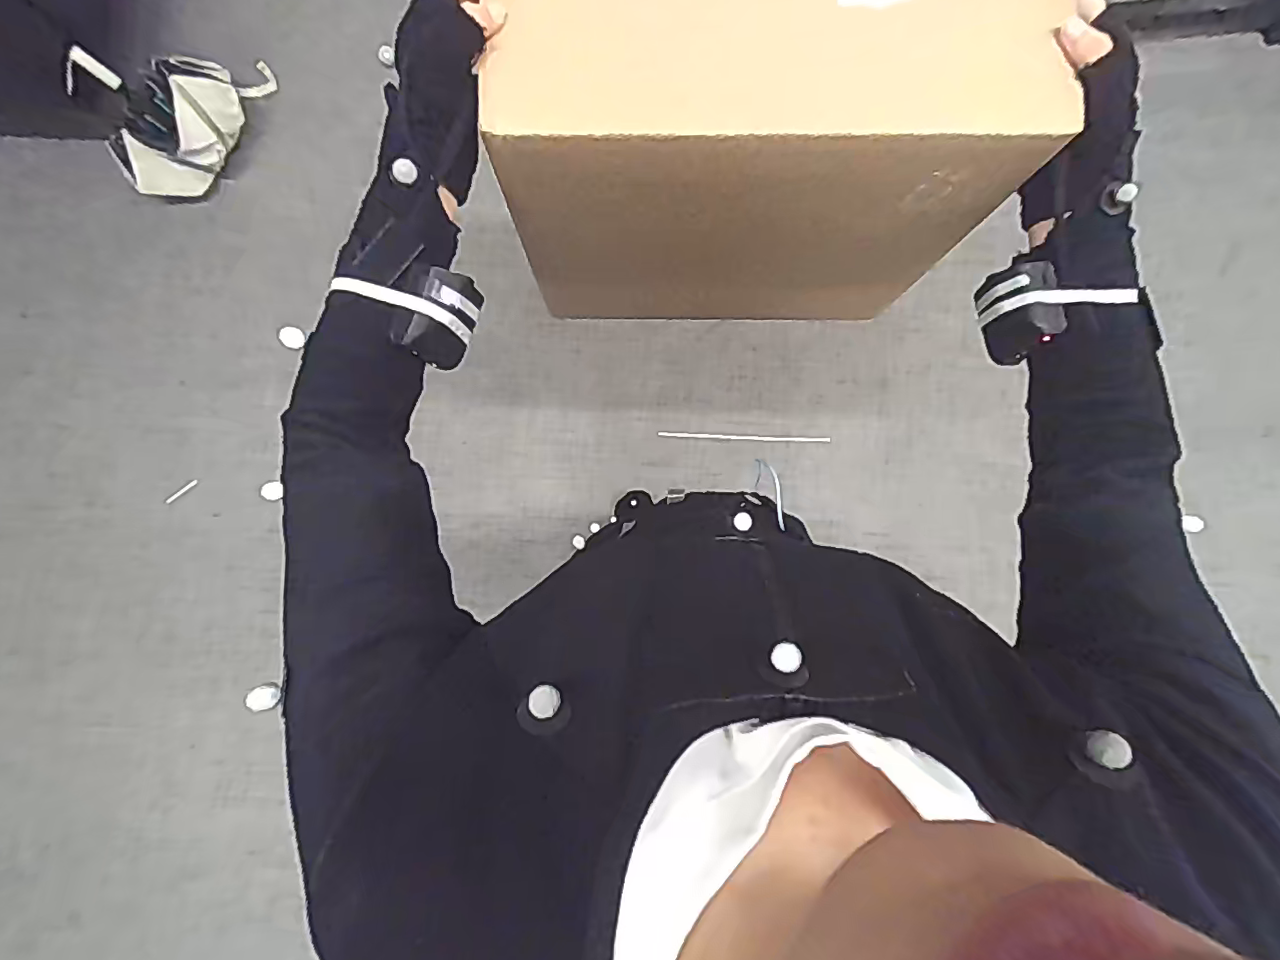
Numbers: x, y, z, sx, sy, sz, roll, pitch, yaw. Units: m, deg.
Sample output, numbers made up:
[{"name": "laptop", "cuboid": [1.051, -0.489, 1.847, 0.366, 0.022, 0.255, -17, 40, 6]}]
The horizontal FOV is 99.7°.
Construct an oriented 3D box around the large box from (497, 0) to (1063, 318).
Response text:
[{"name": "large box", "cuboid": [0.091, -0.371, 0.538, 0.408, 0.320, 0.320, -1, 84, -1]}]
